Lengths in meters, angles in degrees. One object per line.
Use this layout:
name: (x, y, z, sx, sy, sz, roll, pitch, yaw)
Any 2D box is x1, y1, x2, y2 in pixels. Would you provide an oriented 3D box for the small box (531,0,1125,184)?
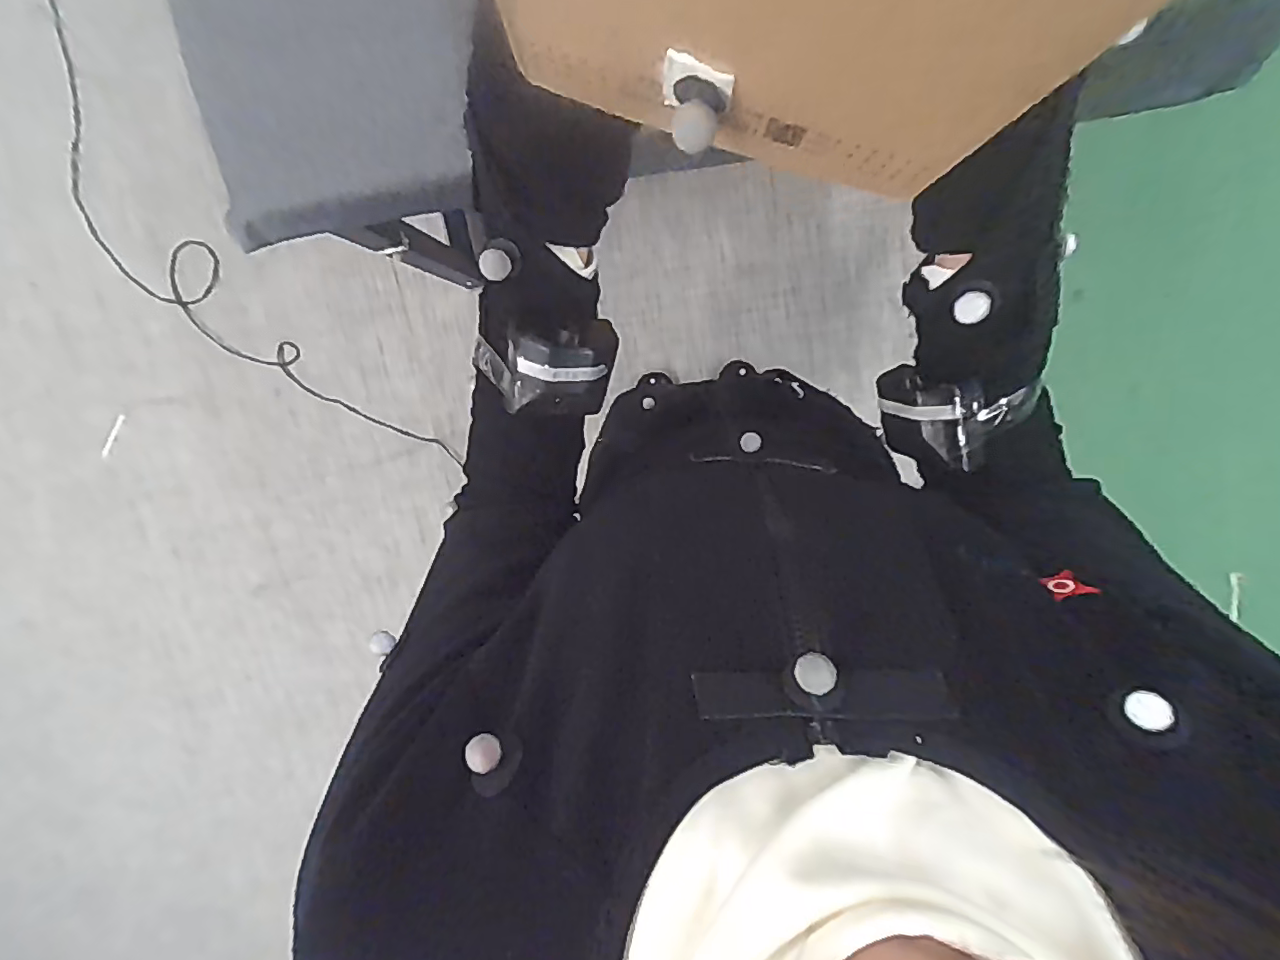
small box: (0.055, -0.216, 0.139, 0.168, 0.176, 0.179, 14, 98, -1)
